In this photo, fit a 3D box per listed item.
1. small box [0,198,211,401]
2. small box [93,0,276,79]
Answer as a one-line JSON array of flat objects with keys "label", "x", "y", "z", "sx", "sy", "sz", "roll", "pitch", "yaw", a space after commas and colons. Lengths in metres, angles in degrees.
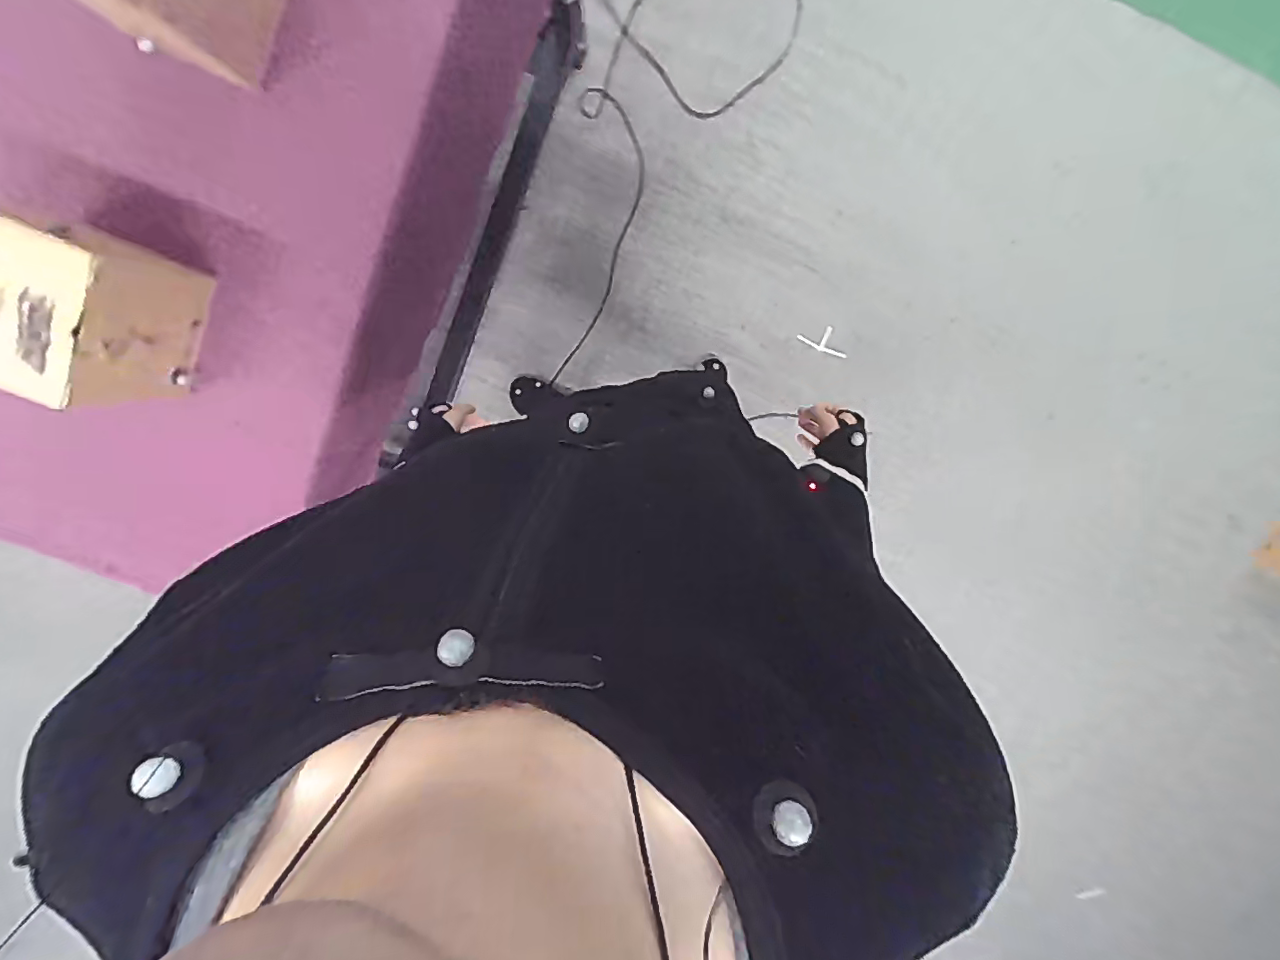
[{"label": "small box", "x": -0.646, "y": -0.205, "z": 0.616, "sx": 0.179, "sy": 0.176, "sz": 0.168, "roll": 22, "pitch": 101, "yaw": -6}, {"label": "small box", "x": -0.491, "y": -0.558, "z": 0.535, "sx": 0.168, "sy": 0.176, "sz": 0.179, "roll": 23, "pitch": 102, "yaw": -6}]
